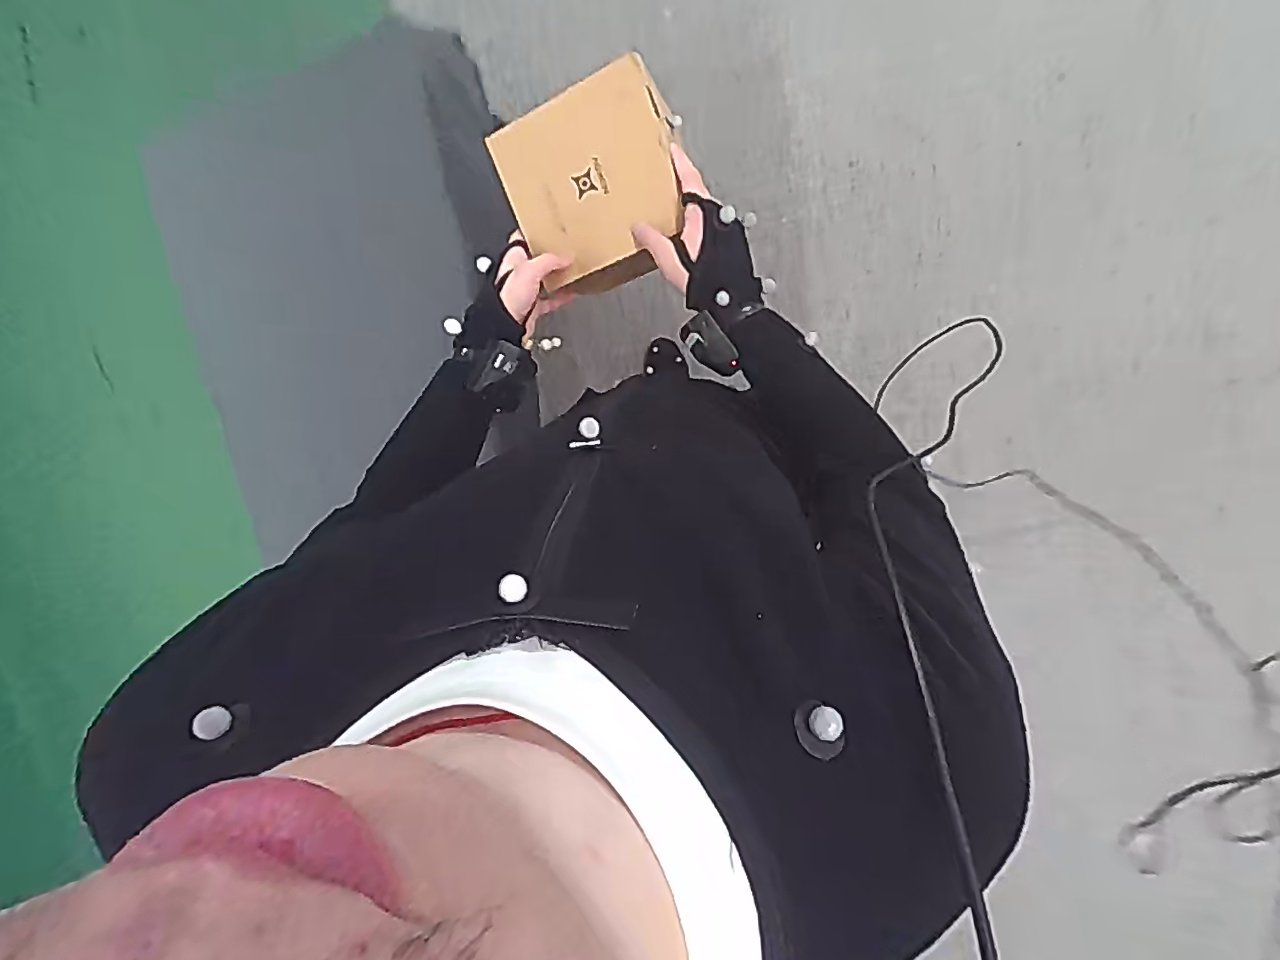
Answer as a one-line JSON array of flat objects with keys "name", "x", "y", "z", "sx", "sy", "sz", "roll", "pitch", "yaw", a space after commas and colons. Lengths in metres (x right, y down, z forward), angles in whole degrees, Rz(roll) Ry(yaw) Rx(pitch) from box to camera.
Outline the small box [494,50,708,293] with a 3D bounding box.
[{"name": "small box", "x": -0.027, "y": -0.321, "z": 0.608, "sx": 0.179, "sy": 0.176, "sz": 0.168, "roll": -14, "pitch": 101, "yaw": 17}]
